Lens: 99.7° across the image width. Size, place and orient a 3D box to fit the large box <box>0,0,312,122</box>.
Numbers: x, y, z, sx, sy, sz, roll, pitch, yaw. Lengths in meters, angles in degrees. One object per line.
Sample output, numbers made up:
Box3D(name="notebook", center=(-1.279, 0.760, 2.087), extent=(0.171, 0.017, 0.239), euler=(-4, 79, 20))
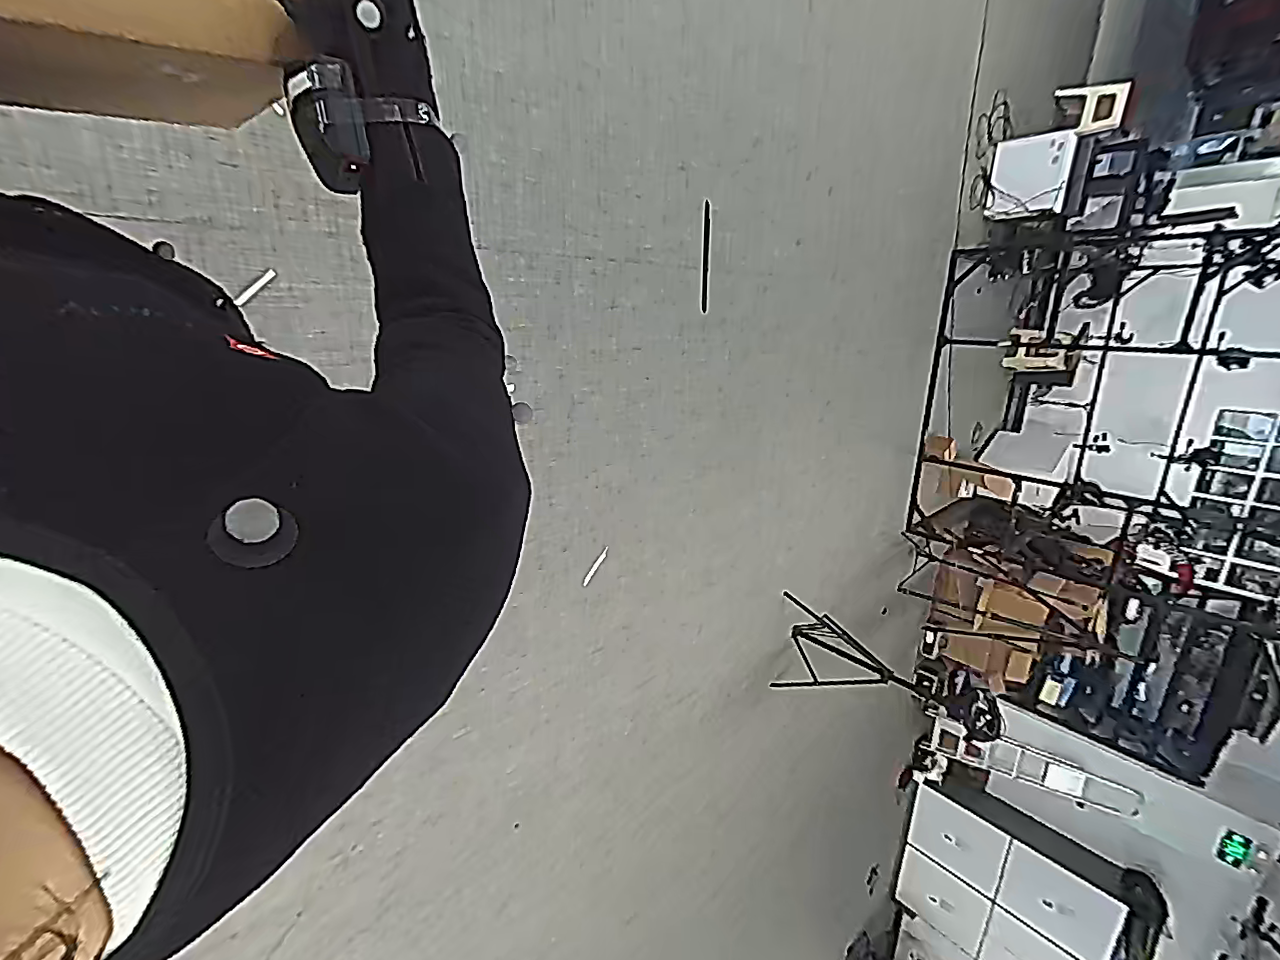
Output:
Box3D(name="large box", center=(-0.463, -0.400, 0.272), extent=(0.408, 0.320, 0.320), euler=(-21, 123, -39))
